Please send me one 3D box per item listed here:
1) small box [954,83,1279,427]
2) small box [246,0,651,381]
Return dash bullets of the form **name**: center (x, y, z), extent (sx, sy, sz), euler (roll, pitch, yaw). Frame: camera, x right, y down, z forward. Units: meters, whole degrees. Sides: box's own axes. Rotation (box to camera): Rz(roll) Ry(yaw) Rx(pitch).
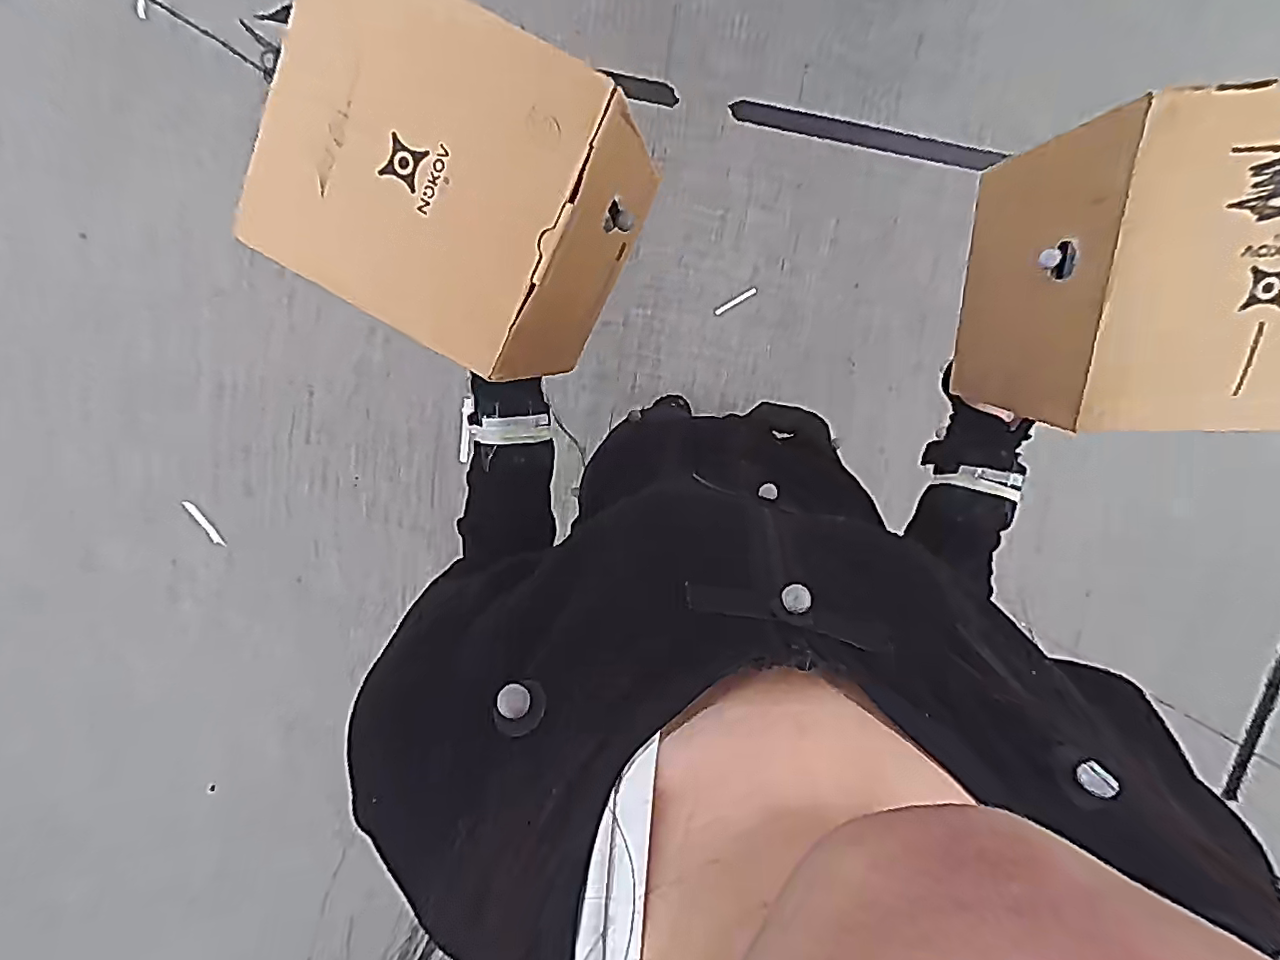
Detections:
- **small box**: center (0.343, -0.137, 0.367), extent (0.168, 0.176, 0.179), euler (0, 108, 5)
- **small box**: center (-0.107, -0.184, 0.370), extent (0.179, 0.176, 0.168), euler (28, 105, 2)
